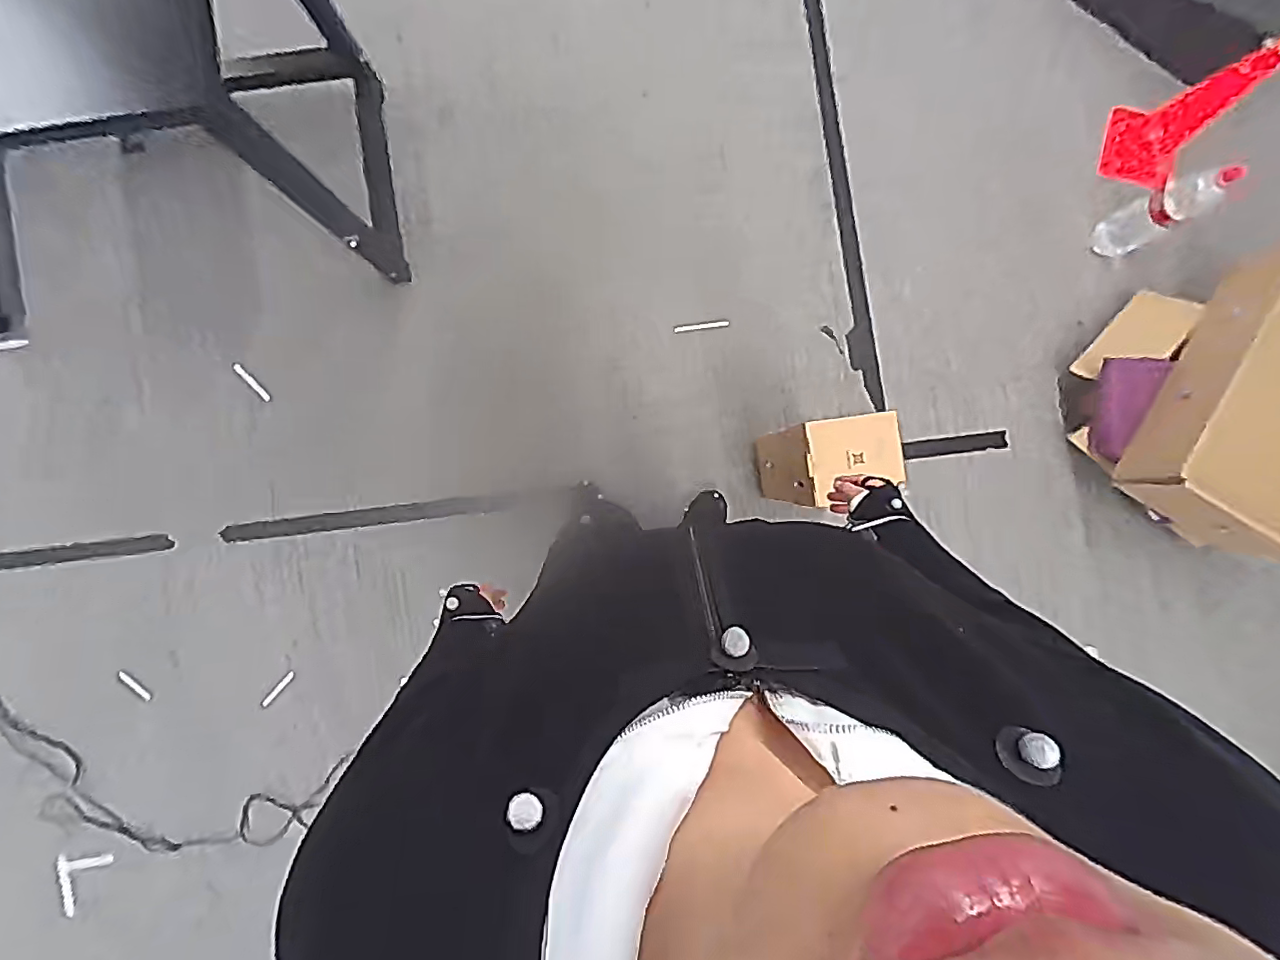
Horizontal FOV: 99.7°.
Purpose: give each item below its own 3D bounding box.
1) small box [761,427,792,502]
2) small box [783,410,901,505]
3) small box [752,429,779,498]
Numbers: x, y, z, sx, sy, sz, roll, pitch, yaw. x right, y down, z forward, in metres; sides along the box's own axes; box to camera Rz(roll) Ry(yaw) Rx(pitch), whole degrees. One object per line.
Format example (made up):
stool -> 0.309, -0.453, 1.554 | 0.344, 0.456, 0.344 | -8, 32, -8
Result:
small box -> 0.396, -0.043, 1.265 | 0.179, 0.176, 0.168 | -7, 89, 1
small box -> 0.399, -0.042, 1.103 | 0.179, 0.176, 0.168 | -8, 91, -1
small box -> 0.401, -0.045, 1.430 | 0.168, 0.176, 0.179 | -7, 90, 0
